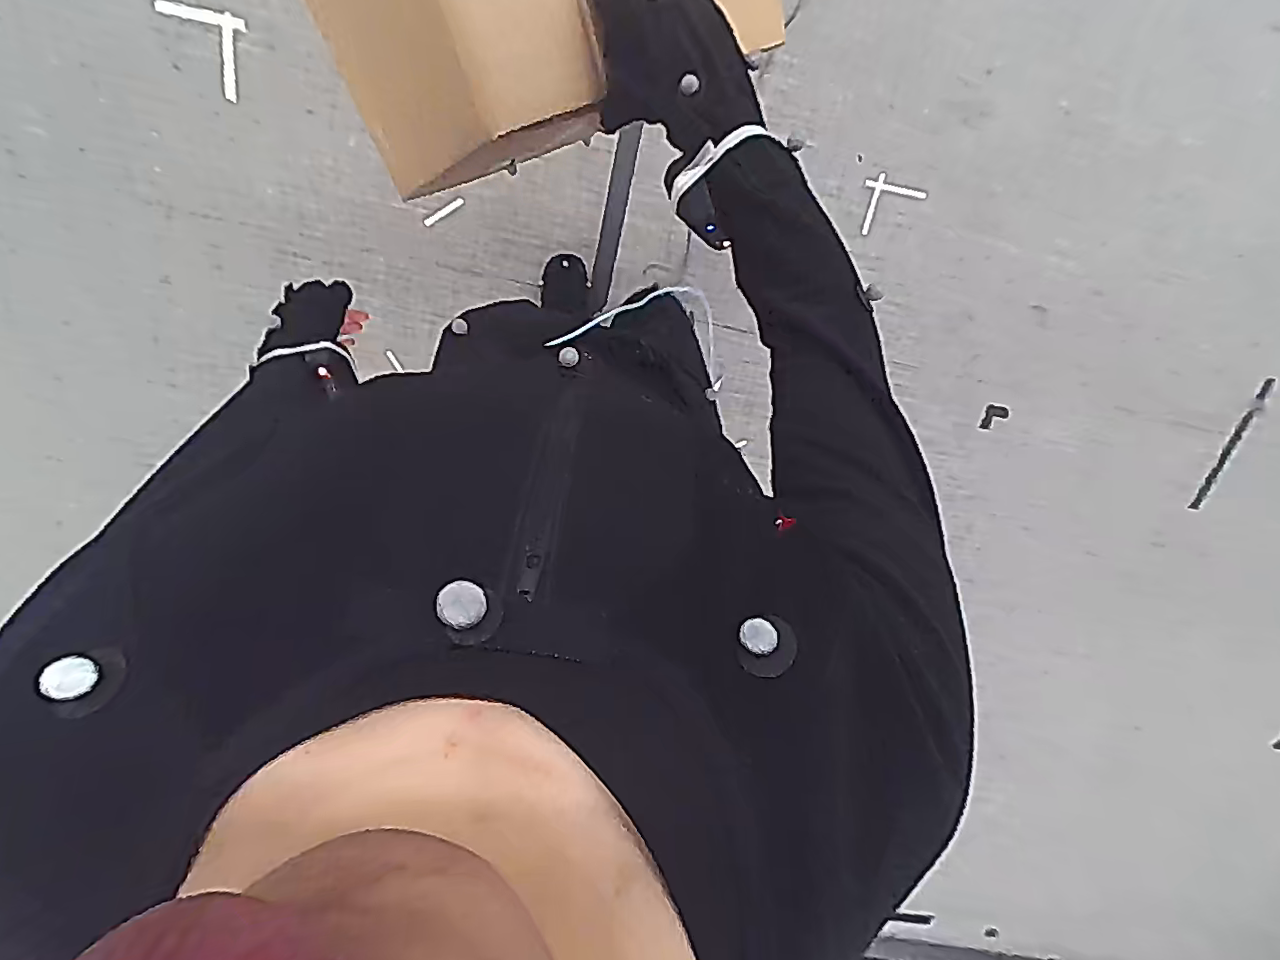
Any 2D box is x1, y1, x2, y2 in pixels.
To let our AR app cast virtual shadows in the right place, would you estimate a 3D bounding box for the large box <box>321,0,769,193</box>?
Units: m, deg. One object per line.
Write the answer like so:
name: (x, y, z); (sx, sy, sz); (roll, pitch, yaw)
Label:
large box: (-0.135, -0.526, 0.553); (0.320, 0.408, 0.320); (-31, 123, -20)
